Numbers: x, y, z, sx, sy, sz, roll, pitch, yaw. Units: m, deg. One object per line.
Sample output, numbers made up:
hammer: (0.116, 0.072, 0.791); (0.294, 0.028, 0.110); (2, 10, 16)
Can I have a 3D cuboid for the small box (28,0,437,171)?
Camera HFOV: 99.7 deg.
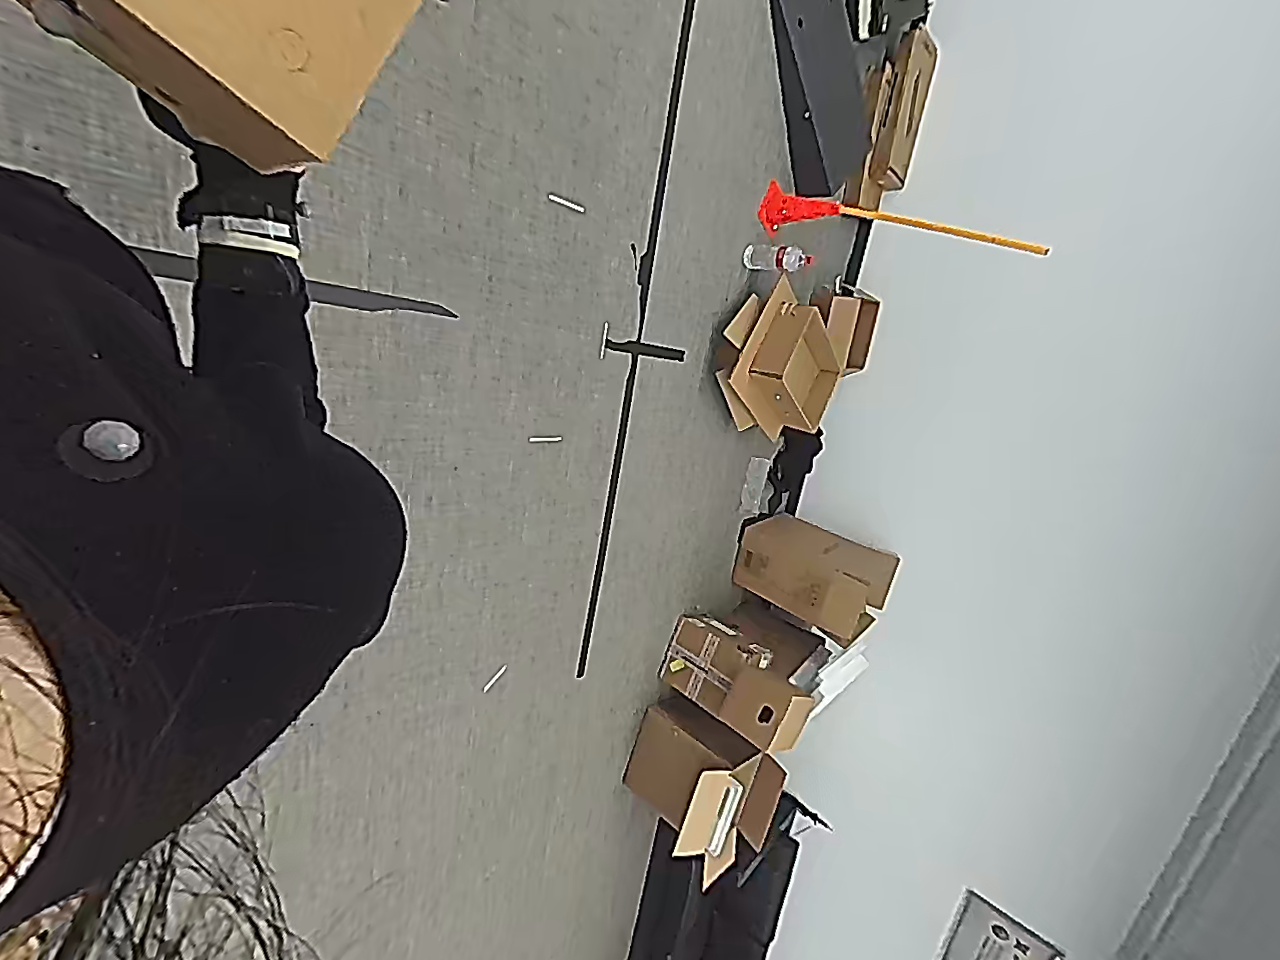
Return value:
small box: (-0.222, -0.297, 0.290); (0.168, 0.176, 0.179); (31, 86, -48)
